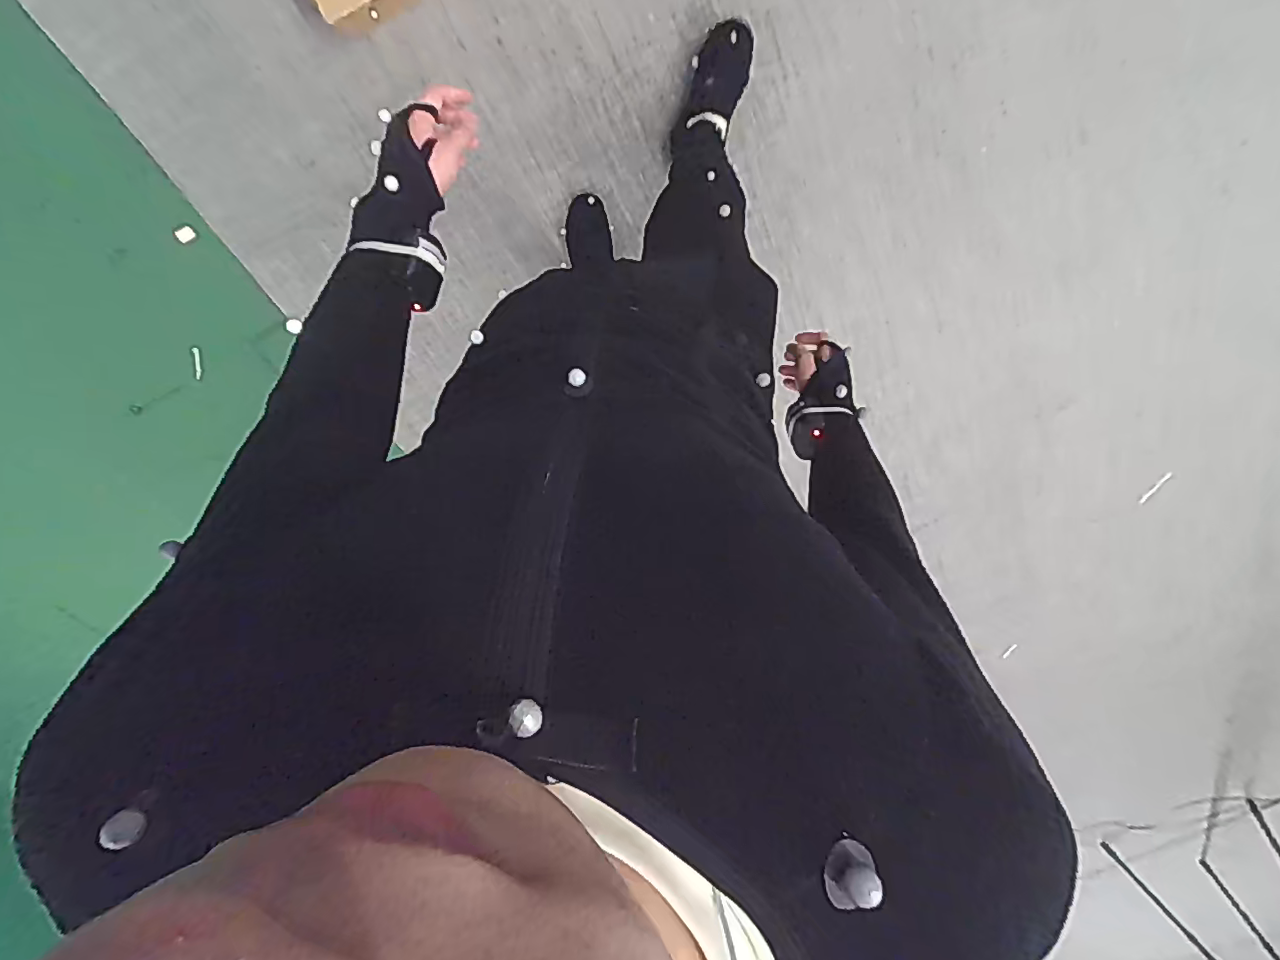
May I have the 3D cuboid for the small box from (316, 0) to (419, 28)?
[{"bbox_3d":[-0.543,-1.007,1.036,0.179,0.176,0.168,-18,123,11],"label":"small box"}]
